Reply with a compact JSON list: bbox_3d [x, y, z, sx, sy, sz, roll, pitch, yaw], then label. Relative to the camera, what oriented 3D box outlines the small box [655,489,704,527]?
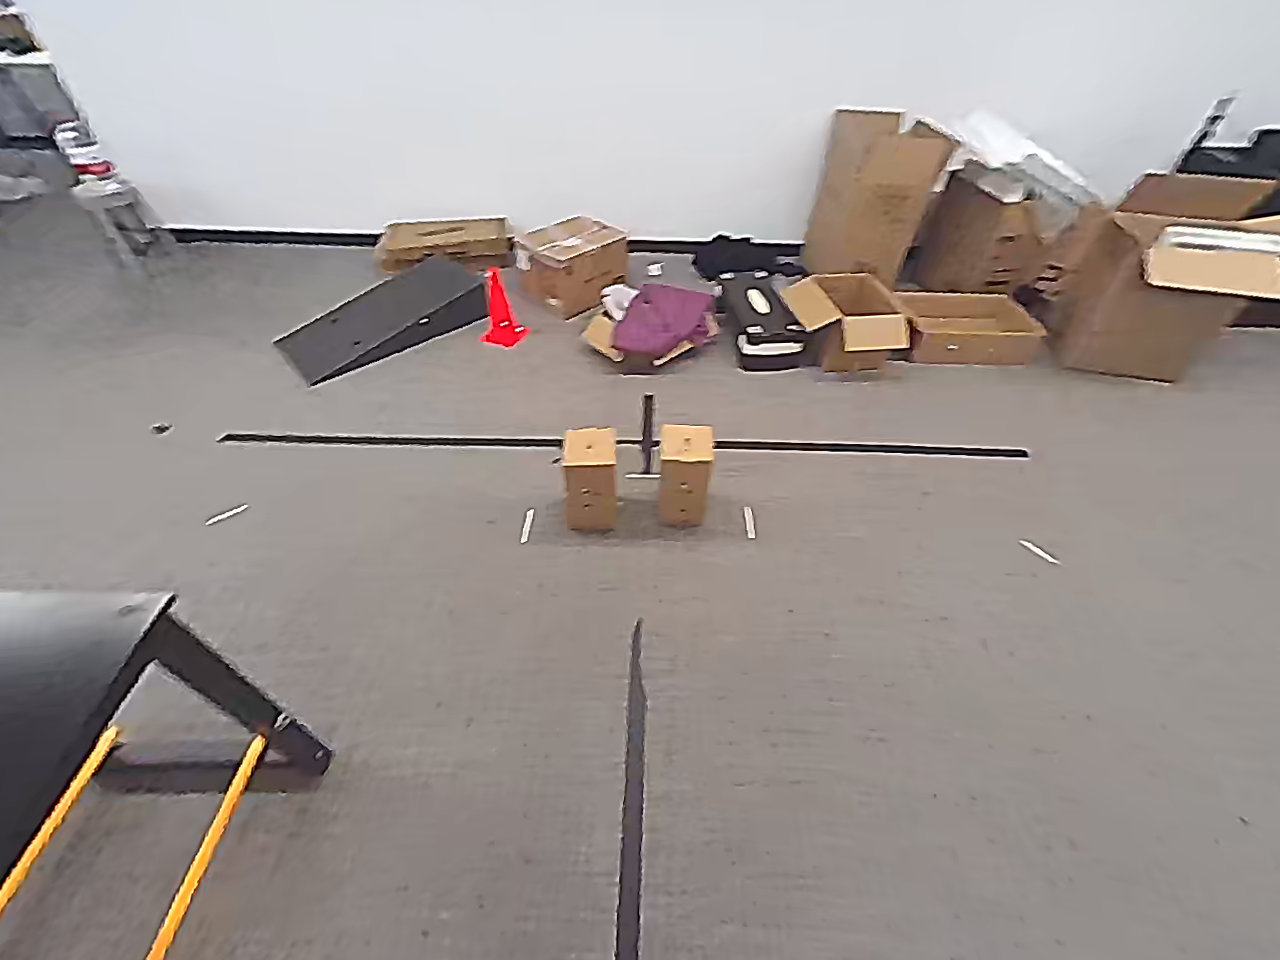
[{"bbox_3d":[0.140,0.056,1.958,0.168,0.176,0.179,1,46,0],"label":"small box"}]

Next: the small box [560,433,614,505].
[{"bbox_3d":[-0.173,-0.037,1.812,0.168,0.176,0.179,-3,47,-2],"label":"small box"}]

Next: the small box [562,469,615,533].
[{"bbox_3d":[-0.179,0.075,1.929,0.179,0.176,0.168,0,45,-2],"label":"small box"}]

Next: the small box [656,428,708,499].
[{"bbox_3d":[0.139,-0.056,1.835,0.168,0.176,0.179,2,46,1],"label":"small box"}]
